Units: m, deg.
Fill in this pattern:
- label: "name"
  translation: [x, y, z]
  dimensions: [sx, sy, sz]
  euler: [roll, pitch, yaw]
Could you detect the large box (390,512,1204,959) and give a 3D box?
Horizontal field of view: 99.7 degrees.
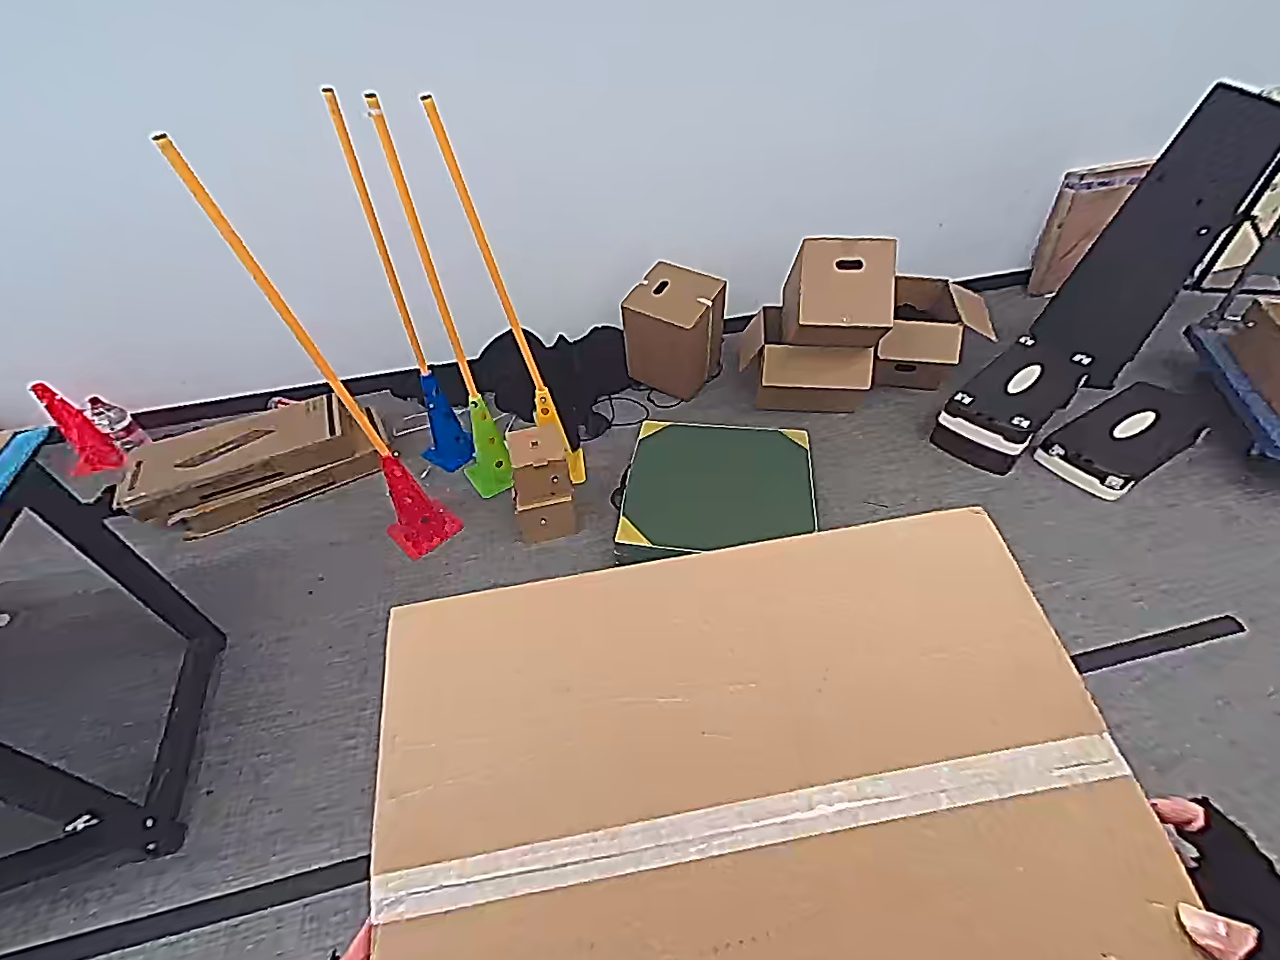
- label: "large box"
  translation: [0.069, 0.261, 0.429]
  dimensions: [0.408, 0.320, 0.320]
  euler: [-10, 61, -2]
